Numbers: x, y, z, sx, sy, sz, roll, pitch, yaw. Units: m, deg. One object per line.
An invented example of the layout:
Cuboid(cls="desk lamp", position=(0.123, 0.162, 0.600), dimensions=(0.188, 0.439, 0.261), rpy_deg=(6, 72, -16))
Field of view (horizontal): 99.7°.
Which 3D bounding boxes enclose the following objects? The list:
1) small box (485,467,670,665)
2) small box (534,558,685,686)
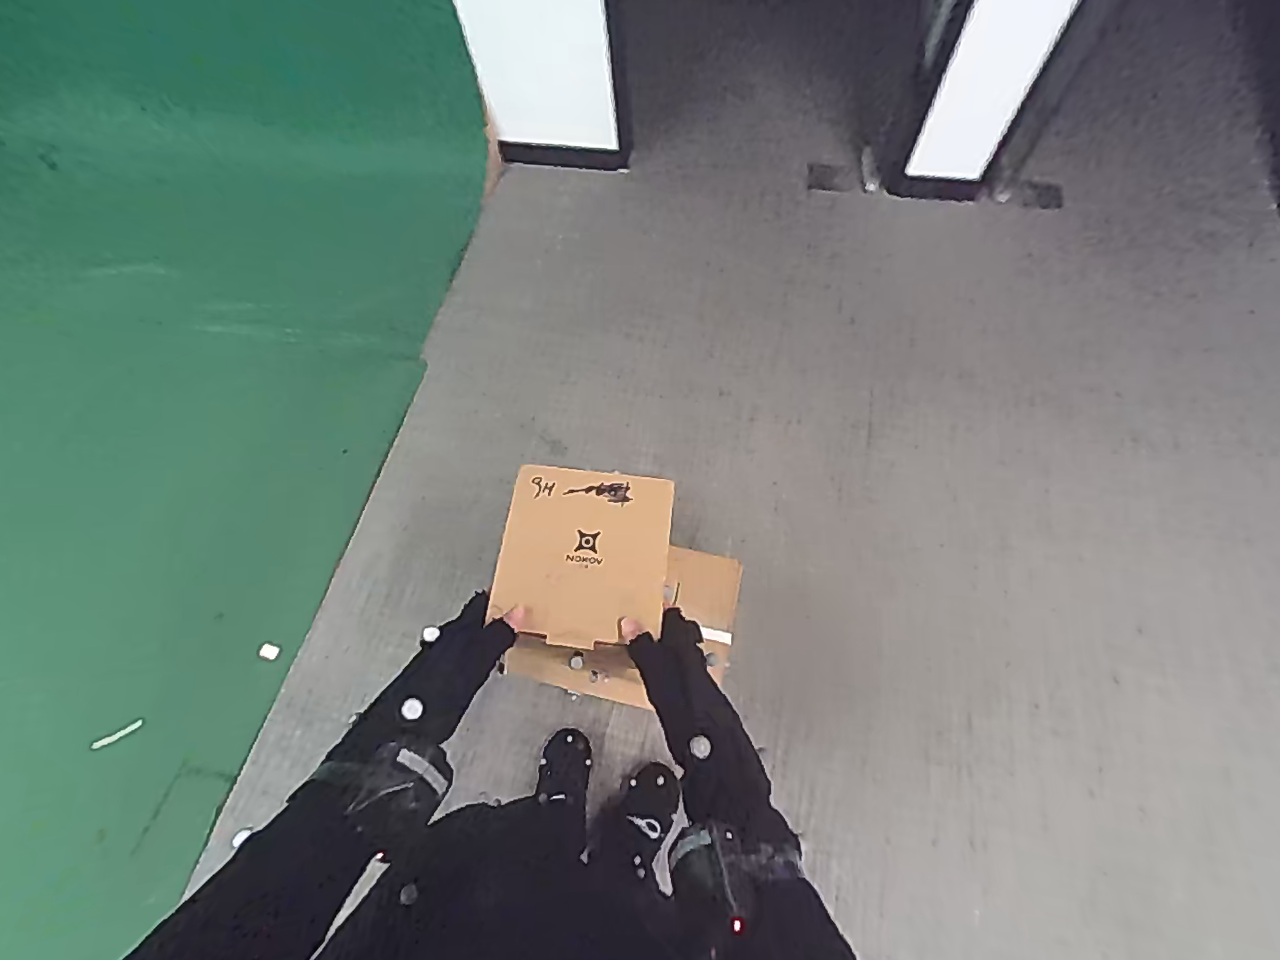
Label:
Cuboid(cls="small box", position=(-0.055, 0.104, 0.601), dimensions=(0.168, 0.176, 0.179), rpy_deg=(4, 65, 2))
Cuboid(cls="small box", position=(-0.031, 0.201, 0.797), dimensions=(0.179, 0.176, 0.168), rpy_deg=(9, 68, 10))
